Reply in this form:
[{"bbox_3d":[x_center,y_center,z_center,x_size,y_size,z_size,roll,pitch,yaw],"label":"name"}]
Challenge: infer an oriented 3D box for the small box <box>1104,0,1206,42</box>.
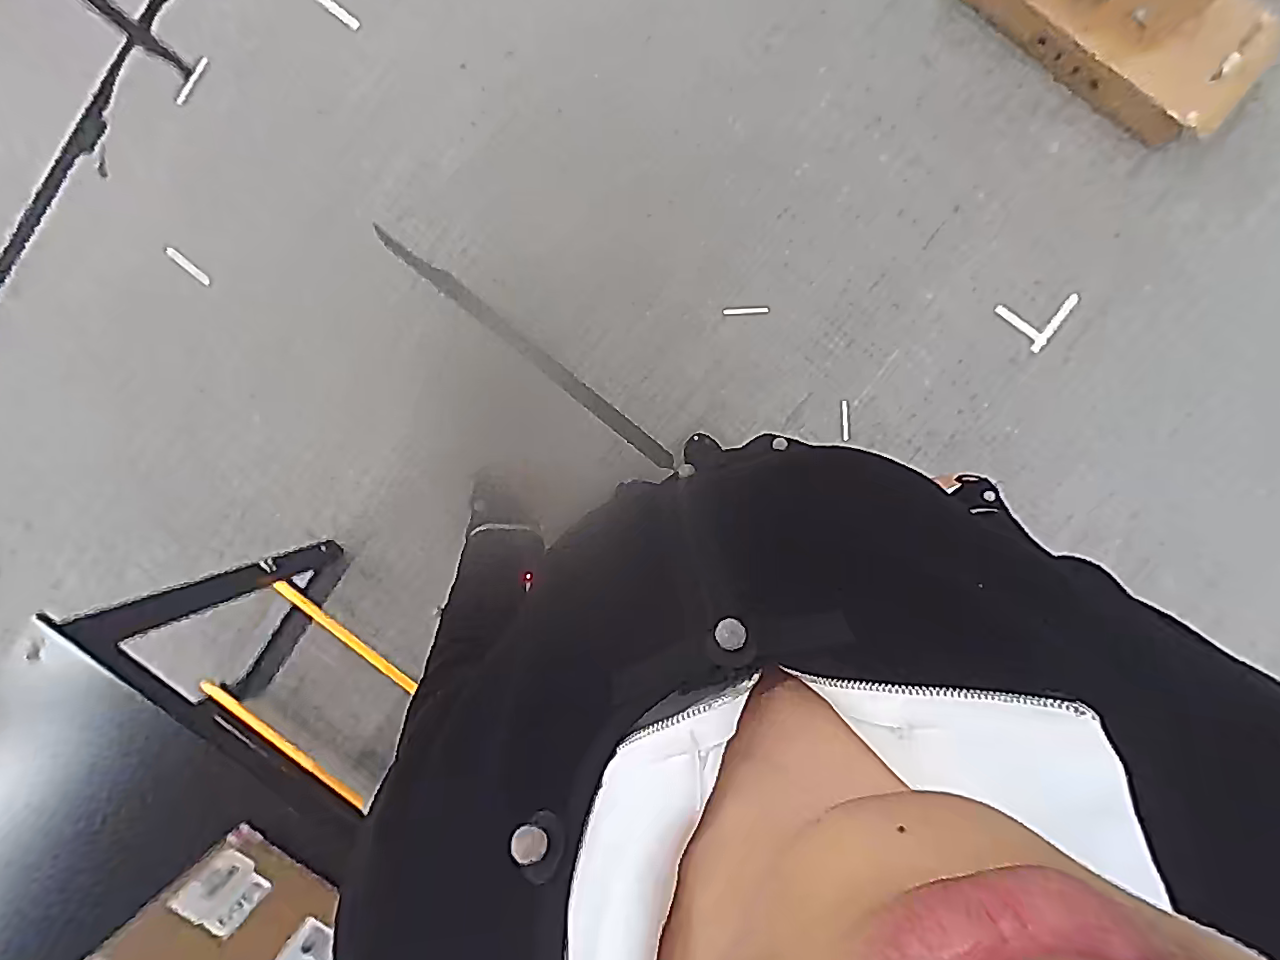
[{"bbox_3d":[1.171,-1.115,1.160,0.168,0.176,0.179,41,96,0],"label":"small box"}]
